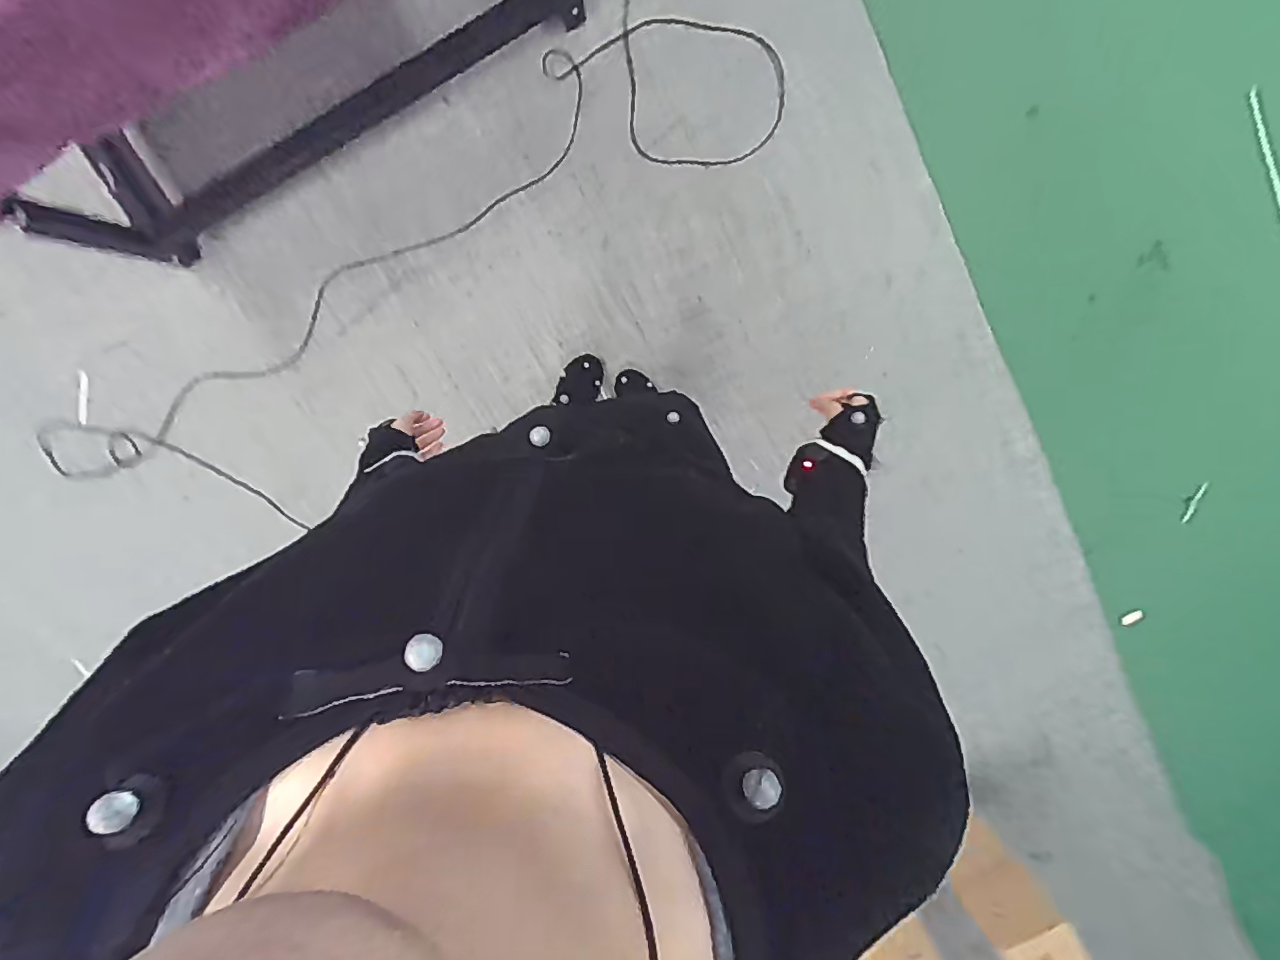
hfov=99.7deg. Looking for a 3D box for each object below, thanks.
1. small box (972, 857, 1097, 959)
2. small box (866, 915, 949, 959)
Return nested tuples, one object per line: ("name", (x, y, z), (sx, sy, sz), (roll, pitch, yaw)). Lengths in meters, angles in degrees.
("small box", (0.975, 1.107, 1.356), (0.179, 0.176, 0.168), (-30, 101, 4))
("small box", (0.708, 1.267, 1.387), (0.168, 0.176, 0.179), (-22, 102, 3))
